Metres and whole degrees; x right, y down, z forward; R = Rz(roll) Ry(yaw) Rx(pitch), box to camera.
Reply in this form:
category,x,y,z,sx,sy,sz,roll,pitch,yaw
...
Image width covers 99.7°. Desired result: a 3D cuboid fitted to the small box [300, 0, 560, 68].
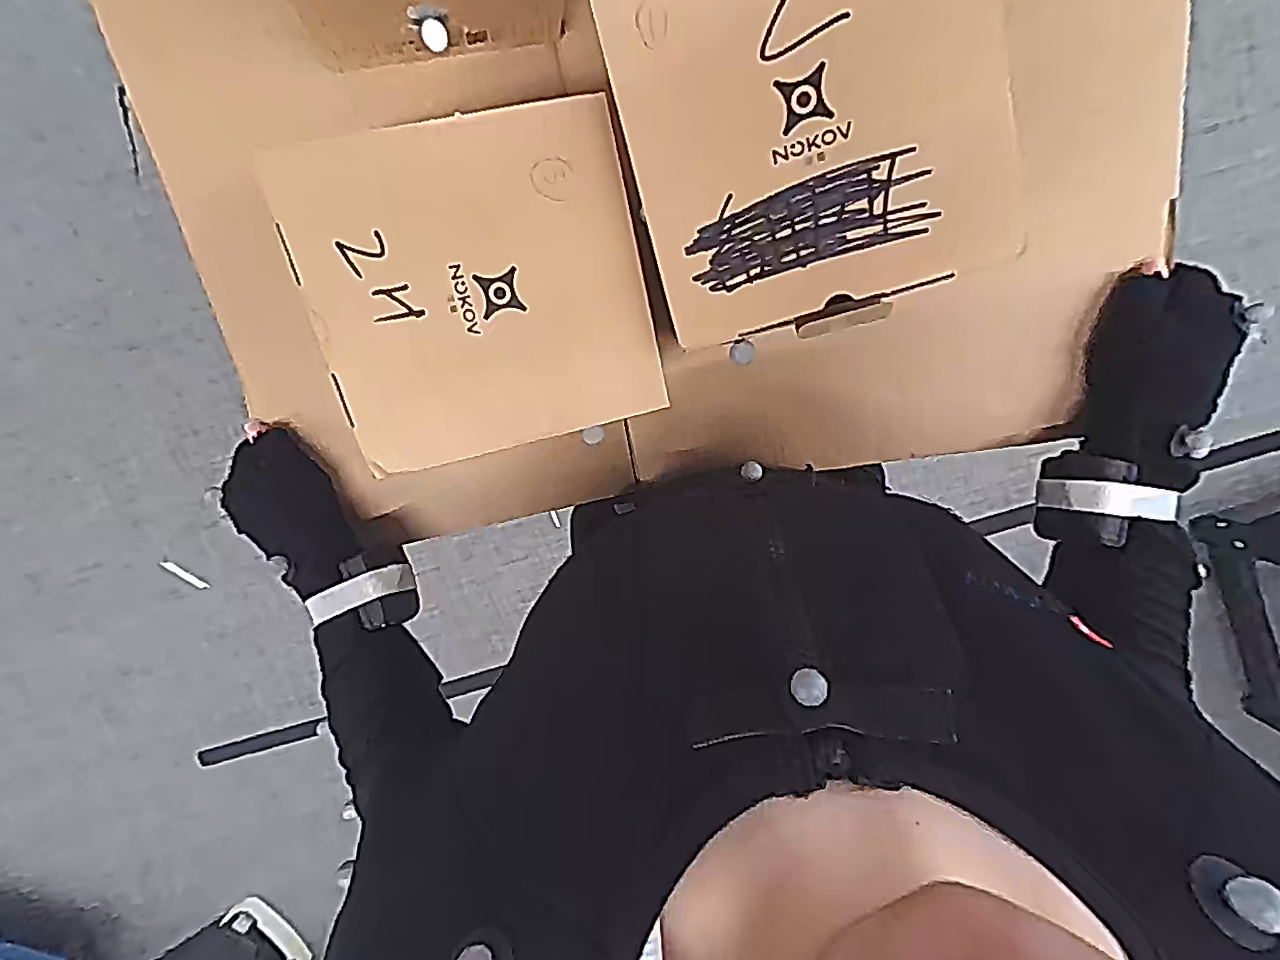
category,x,y,z,sx,sy,sz,roll,pitch,yaw
small box,-0.140,-0.374,0.296,0.168,0.176,0.179,-14,106,-7
